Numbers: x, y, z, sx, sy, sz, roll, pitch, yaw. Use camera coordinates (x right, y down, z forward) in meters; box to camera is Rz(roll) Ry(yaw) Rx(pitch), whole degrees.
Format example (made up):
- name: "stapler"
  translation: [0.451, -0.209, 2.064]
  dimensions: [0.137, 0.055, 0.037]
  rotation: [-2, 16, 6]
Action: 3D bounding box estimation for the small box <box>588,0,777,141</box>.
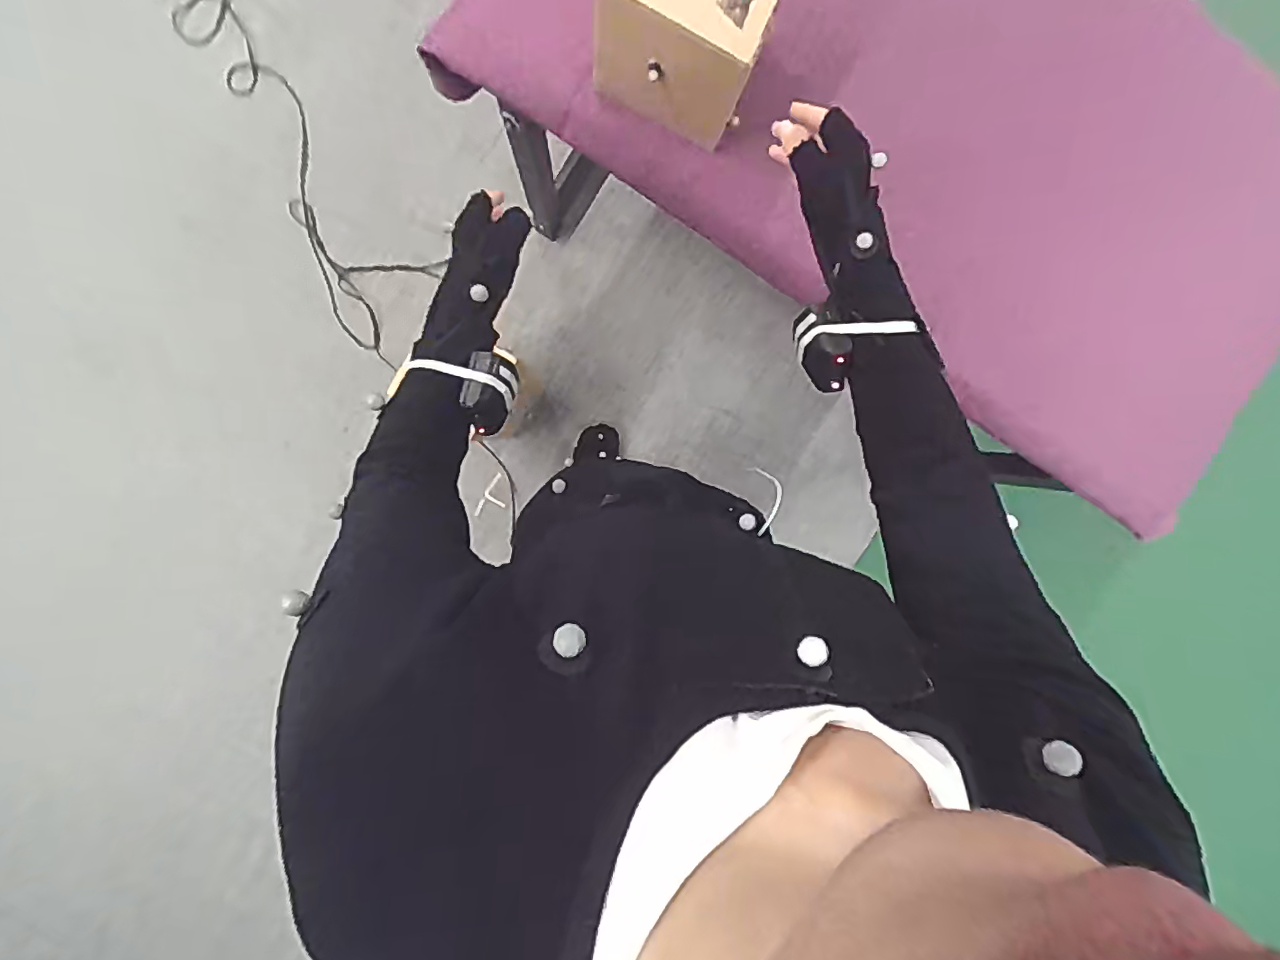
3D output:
- name: "small box"
  translation: [0.052, -0.536, 0.625]
  dimensions: [0.179, 0.176, 0.168]
  rotation: [25, 91, -7]
